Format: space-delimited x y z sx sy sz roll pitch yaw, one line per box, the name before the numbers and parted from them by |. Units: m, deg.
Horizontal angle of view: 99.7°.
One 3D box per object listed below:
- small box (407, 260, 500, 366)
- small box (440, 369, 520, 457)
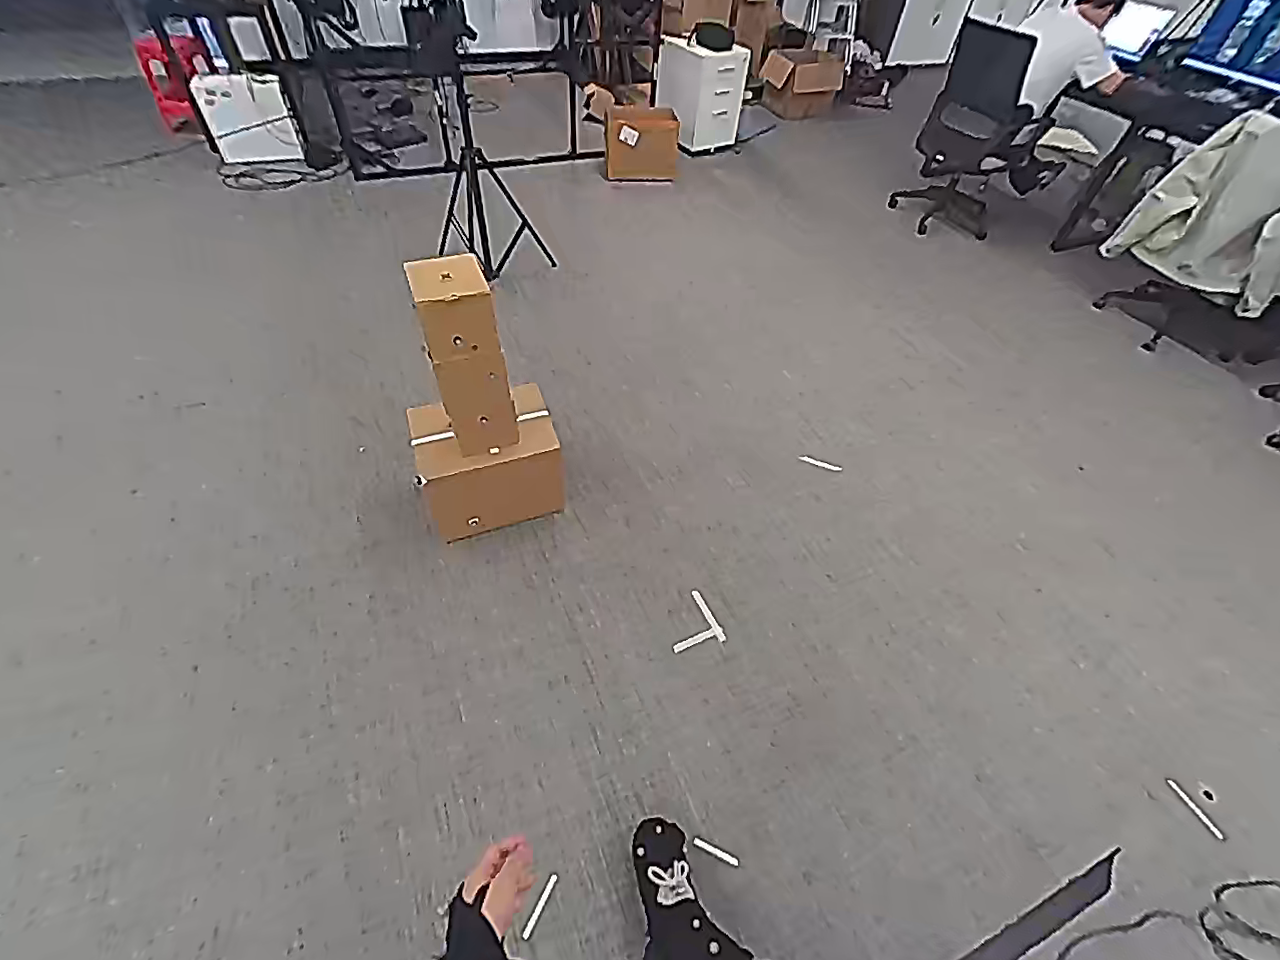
small box | -0.446 -0.402 1.305 0.168 0.176 0.179 -17 55 -18
small box | -0.456 -0.188 1.552 0.179 0.176 0.168 -17 55 -19
